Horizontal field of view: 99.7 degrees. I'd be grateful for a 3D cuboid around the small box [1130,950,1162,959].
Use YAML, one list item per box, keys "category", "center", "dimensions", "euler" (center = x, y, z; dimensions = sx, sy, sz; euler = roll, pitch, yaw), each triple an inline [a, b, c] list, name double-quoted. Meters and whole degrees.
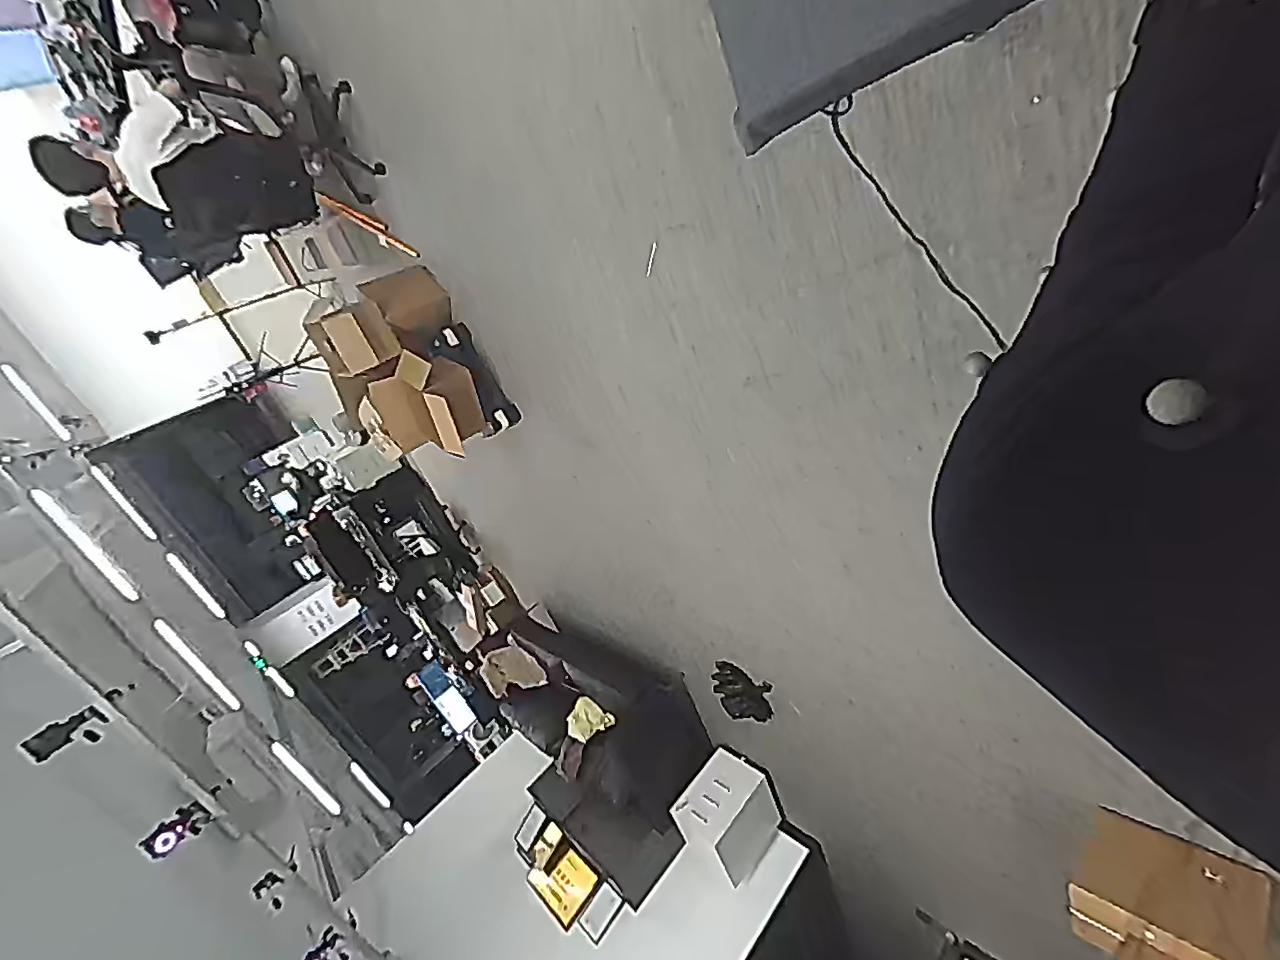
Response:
- category: "small box"
  center: [1.490, 1.496, 1.535]
  dimensions: [0.179, 0.176, 0.168]
  euler: [14, 128, 46]
